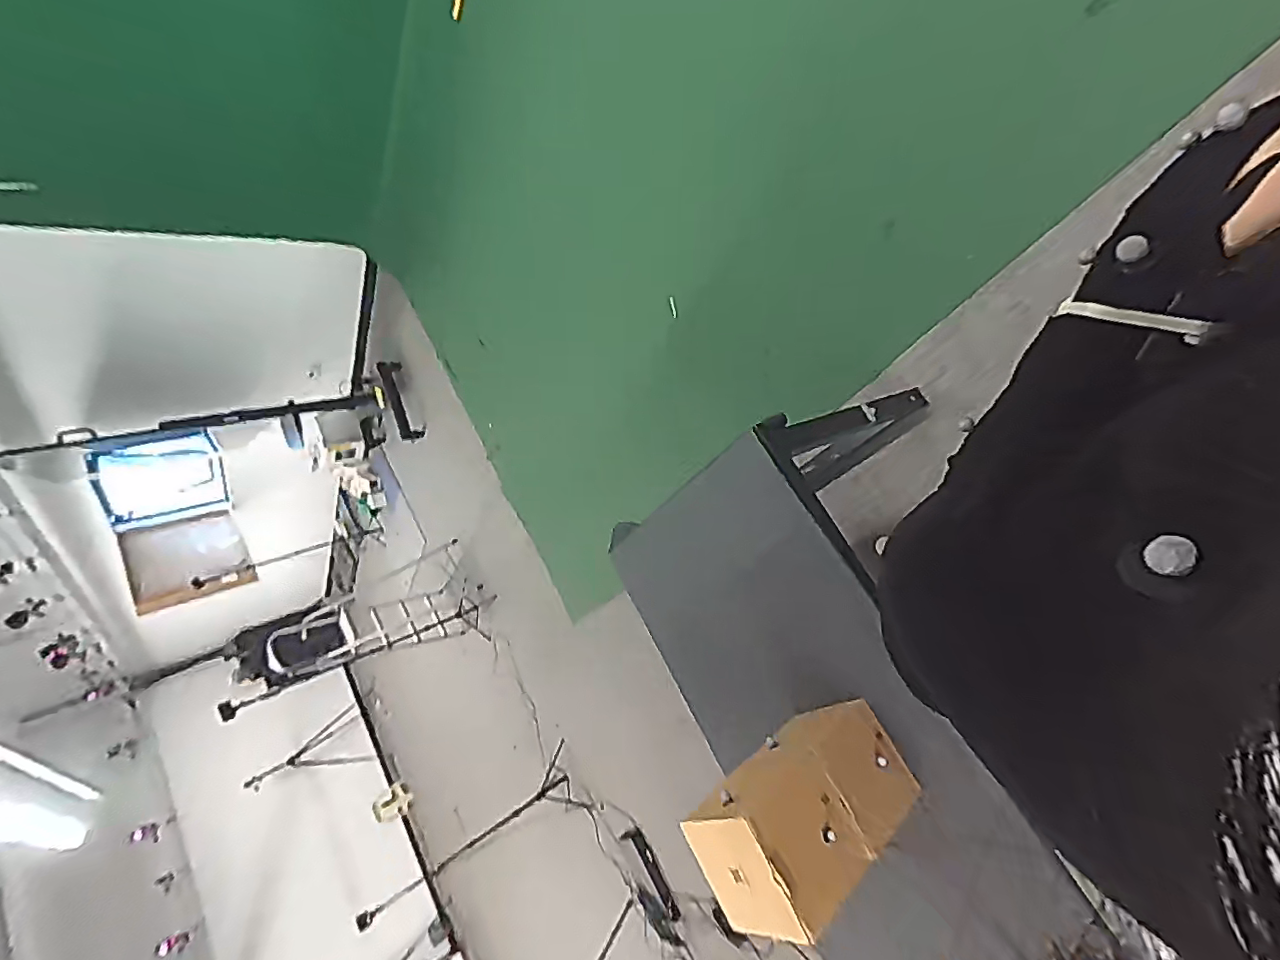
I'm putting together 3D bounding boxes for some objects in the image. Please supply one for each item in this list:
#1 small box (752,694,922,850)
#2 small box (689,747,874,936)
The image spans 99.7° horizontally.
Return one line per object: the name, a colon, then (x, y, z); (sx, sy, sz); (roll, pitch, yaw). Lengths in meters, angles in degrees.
small box: (0.335, 0.493, 0.922); (0.168, 0.176, 0.179); (59, 139, 14)
small box: (0.213, 0.537, 0.824); (0.168, 0.176, 0.179); (59, 139, 15)
